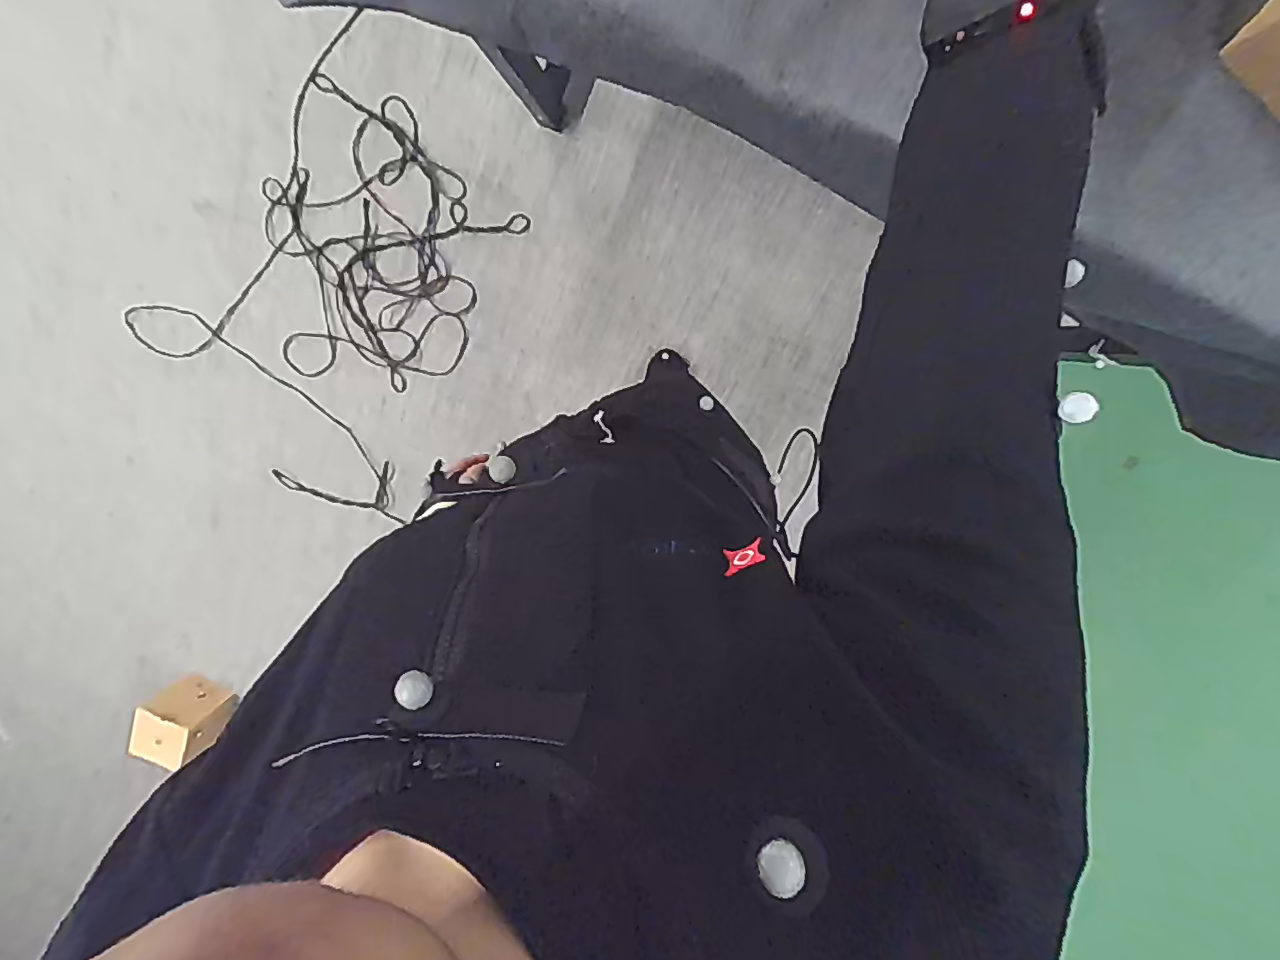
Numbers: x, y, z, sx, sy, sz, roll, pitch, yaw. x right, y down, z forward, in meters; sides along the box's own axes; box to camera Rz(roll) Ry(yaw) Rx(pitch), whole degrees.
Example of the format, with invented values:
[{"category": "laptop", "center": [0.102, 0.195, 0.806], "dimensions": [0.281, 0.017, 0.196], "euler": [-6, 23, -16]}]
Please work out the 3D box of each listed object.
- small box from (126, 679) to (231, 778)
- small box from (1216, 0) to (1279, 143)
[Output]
[{"category": "small box", "center": [-1.380, 0.741, 1.627], "dimensions": [0.168, 0.176, 0.179], "euler": [24, 105, 0]}, {"category": "small box", "center": [0.599, -0.340, 0.378], "dimensions": [0.179, 0.176, 0.168], "euler": [40, 104, -4]}]
